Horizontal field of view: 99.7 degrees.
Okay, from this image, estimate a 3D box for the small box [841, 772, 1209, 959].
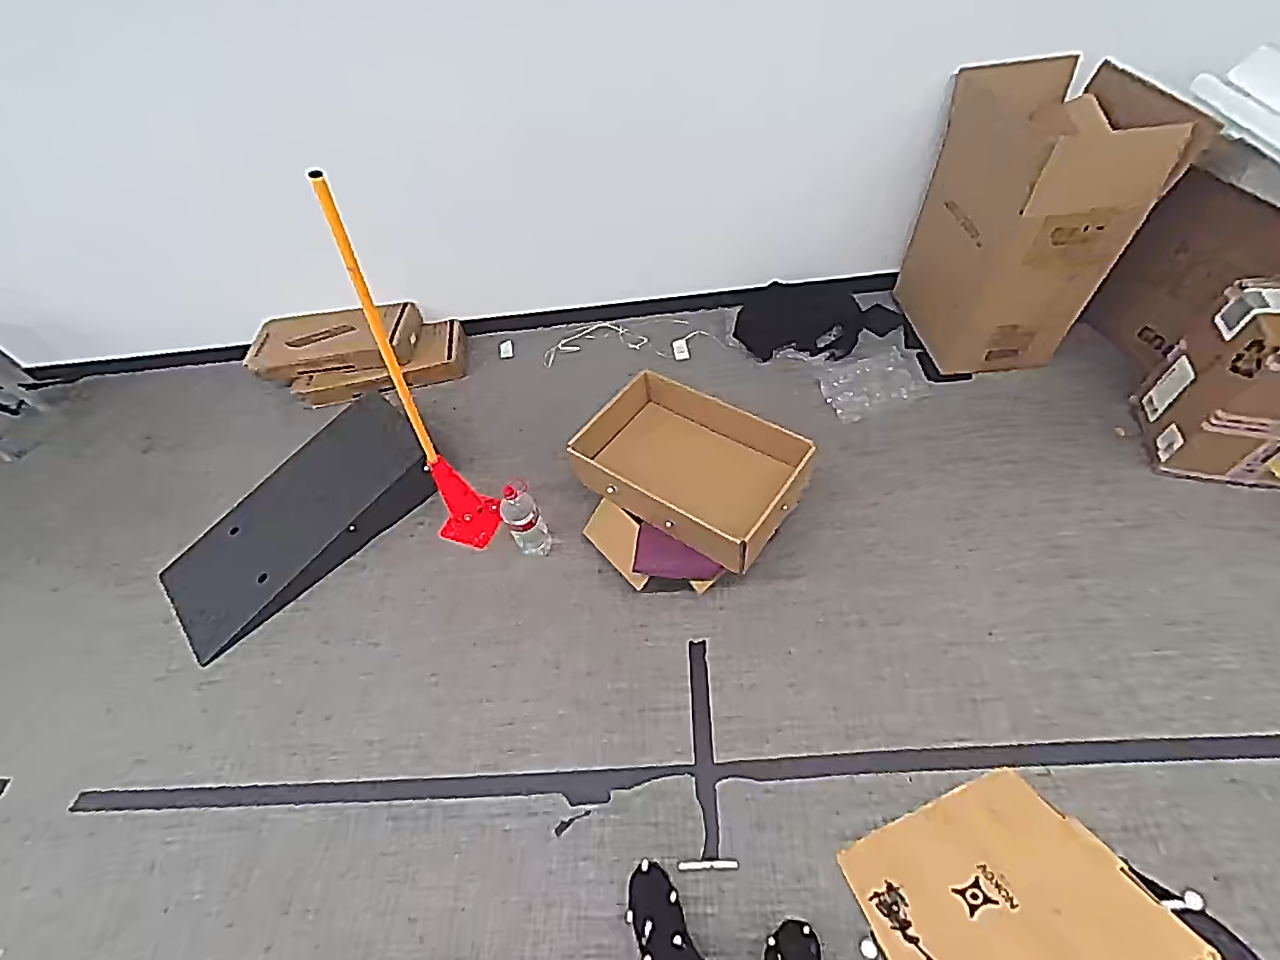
[{"bbox_3d":[0.296,0.382,0.420,0.179,0.168,0.176,-26,98,0],"label":"small box"}]
